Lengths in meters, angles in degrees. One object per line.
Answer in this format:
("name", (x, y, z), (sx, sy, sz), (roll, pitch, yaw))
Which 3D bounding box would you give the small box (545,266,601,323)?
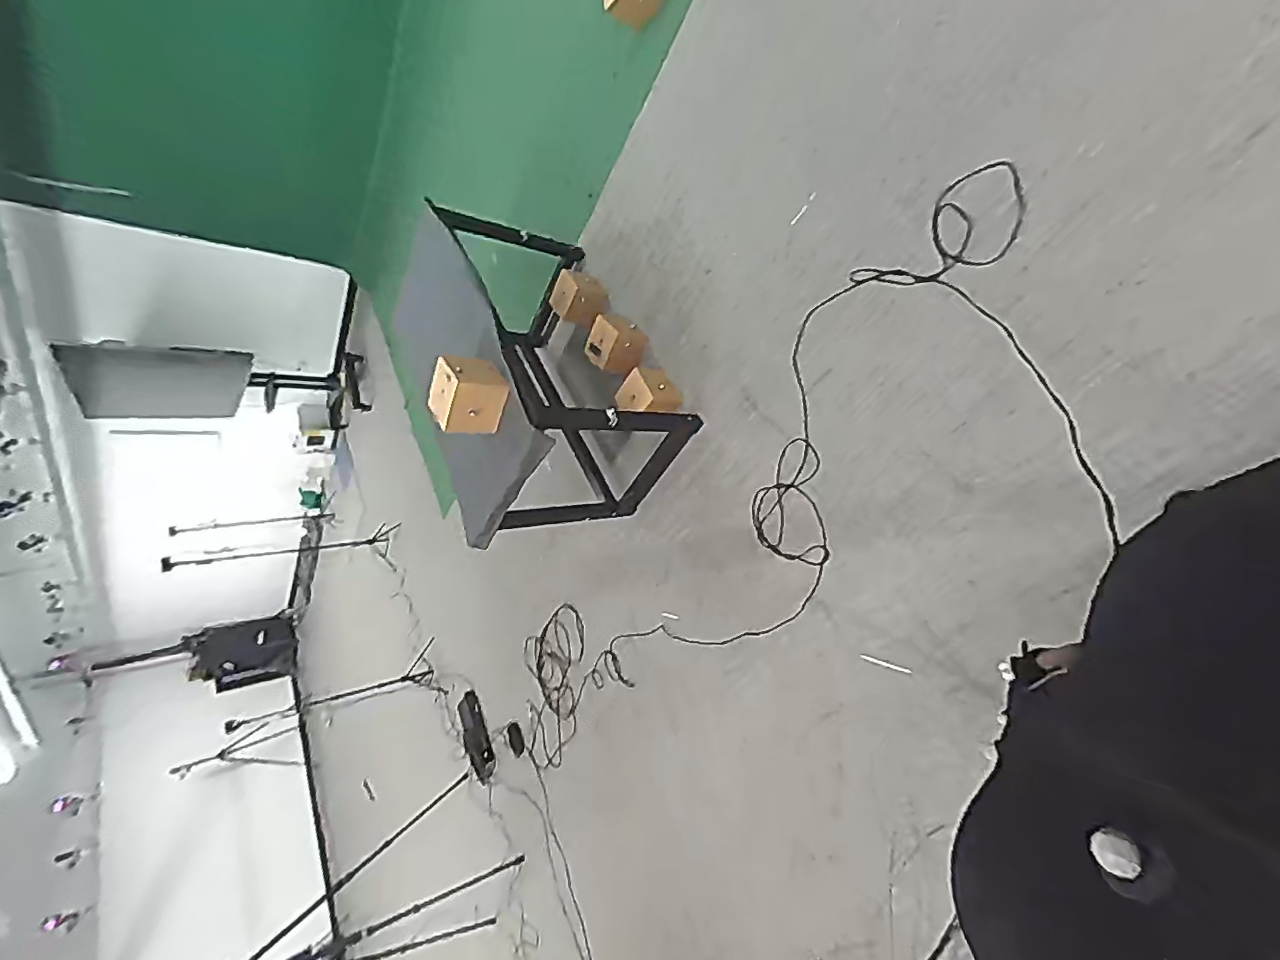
("small box", (-0.298, -0.838, 2.455), (0.168, 0.176, 0.179), (56, 130, 31))

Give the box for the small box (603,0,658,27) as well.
("small box", (-0.032, -1.927, 2.093), (0.179, 0.176, 0.168), (-8, 86, 49))

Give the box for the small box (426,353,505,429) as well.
("small box", (-0.538, -0.270, 1.669), (0.168, 0.176, 0.179), (48, 125, 35))

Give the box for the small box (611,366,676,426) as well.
("small box", (0.021, -0.329, 2.138), (0.179, 0.176, 0.168), (-48, 59, 39))
